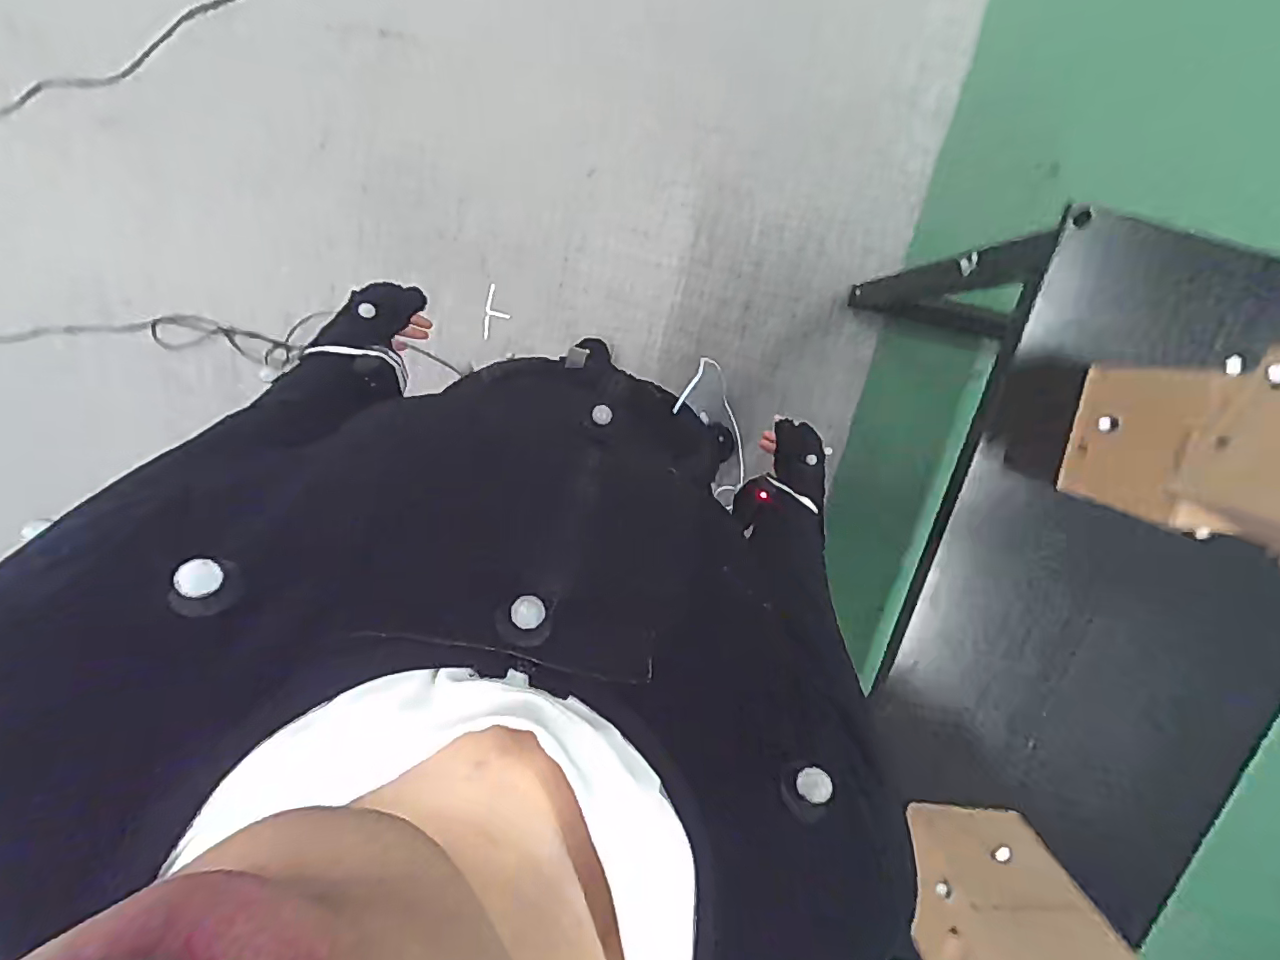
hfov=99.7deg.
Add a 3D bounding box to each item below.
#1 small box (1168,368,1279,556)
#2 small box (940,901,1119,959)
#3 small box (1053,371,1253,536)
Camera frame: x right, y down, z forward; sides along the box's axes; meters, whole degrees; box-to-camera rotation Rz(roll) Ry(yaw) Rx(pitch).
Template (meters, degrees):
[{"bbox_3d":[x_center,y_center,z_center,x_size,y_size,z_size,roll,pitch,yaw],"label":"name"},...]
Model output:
[{"bbox_3d":[0.662,0.000,0.490,0.179,0.176,0.168,26,104,-7],"label":"small box"},{"bbox_3d":[0.499,0.656,0.656,0.179,0.176,0.168,5,104,-2],"label":"small box"},{"bbox_3d":[0.660,-0.038,0.651,0.179,0.176,0.168,5,105,-1],"label":"small box"}]
